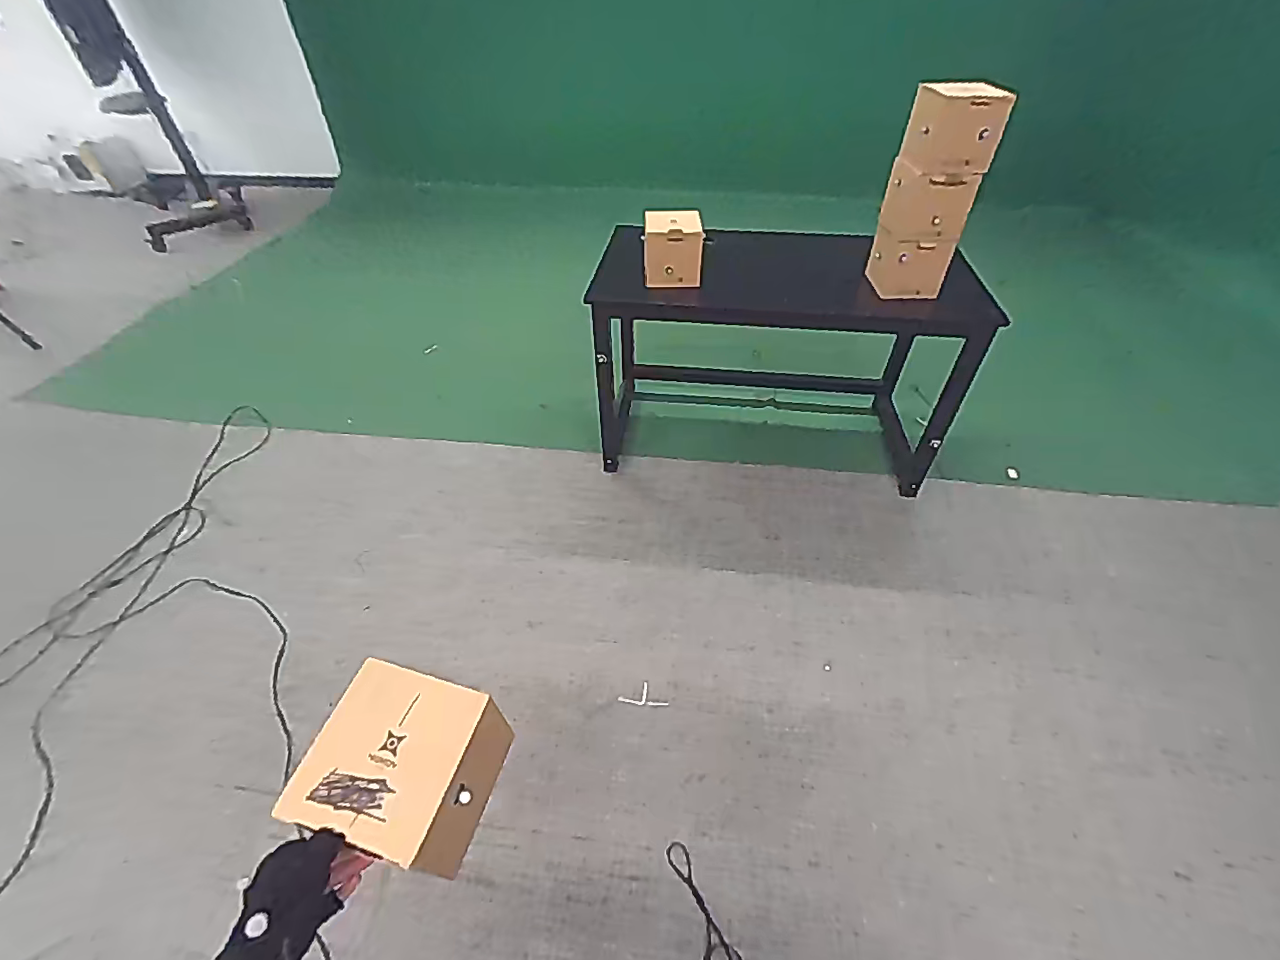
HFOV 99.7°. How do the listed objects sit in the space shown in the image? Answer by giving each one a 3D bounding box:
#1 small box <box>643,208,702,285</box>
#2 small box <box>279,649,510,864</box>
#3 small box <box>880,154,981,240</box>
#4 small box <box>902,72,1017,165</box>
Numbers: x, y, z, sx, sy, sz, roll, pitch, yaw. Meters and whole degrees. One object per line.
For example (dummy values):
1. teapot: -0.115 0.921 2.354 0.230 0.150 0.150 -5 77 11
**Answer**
1. small box: 0.095 -0.720 1.665 0.168 0.176 0.179 0 46 -1
2. small box: -0.275 0.340 0.660 0.168 0.176 0.179 13 52 10
3. small box: 0.782 -0.776 1.480 0.168 0.176 0.179 -1 45 1
4. small box: 0.787 -0.903 1.353 0.168 0.176 0.179 0 44 0
